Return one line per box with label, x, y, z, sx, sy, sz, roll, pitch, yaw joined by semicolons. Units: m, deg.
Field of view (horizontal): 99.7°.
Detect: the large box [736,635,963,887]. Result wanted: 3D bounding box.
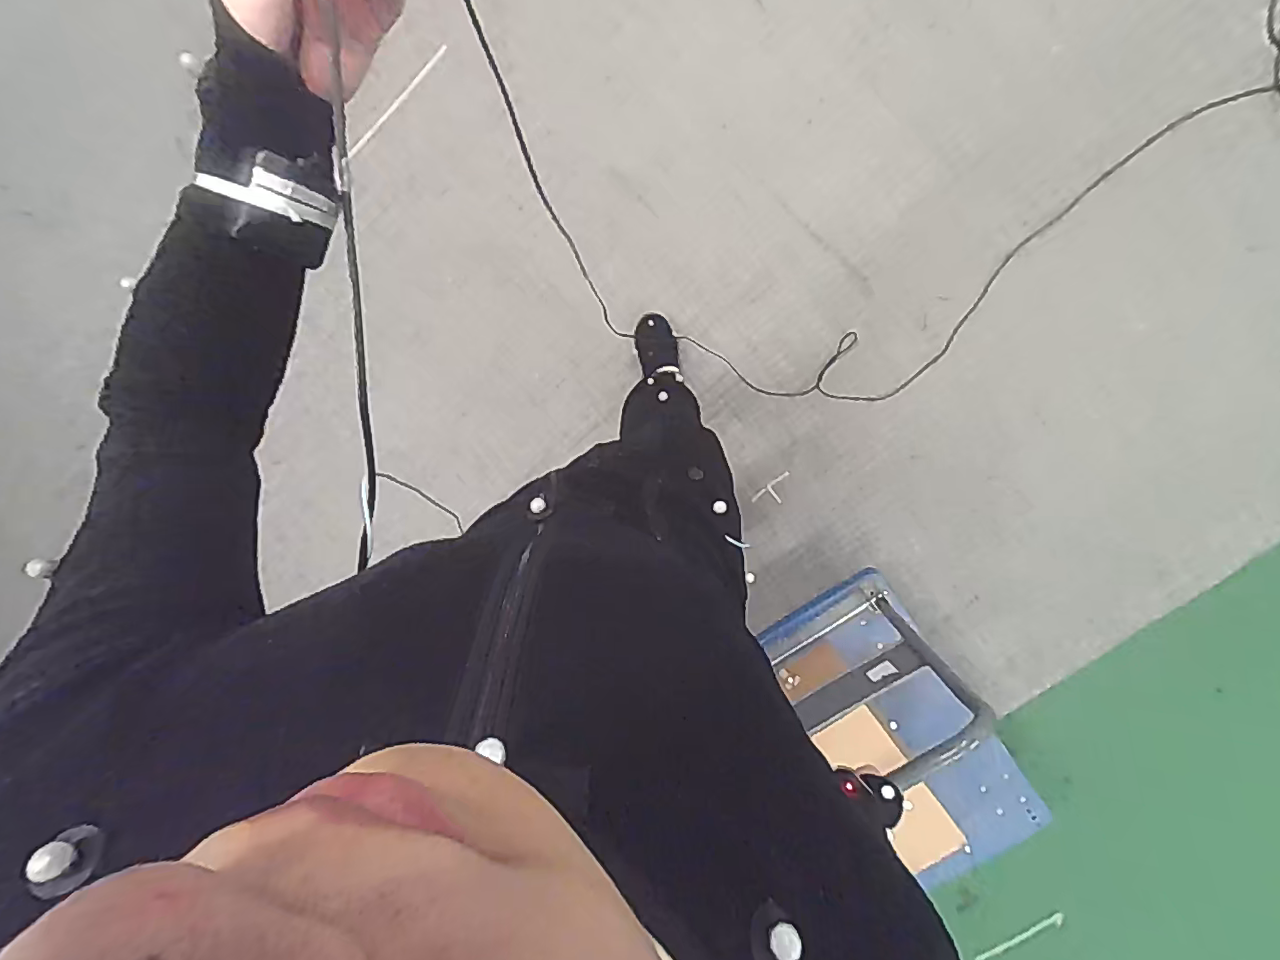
large box;0.495;0.681;1.364;0.320;0.320;0.408;-37;94;10
